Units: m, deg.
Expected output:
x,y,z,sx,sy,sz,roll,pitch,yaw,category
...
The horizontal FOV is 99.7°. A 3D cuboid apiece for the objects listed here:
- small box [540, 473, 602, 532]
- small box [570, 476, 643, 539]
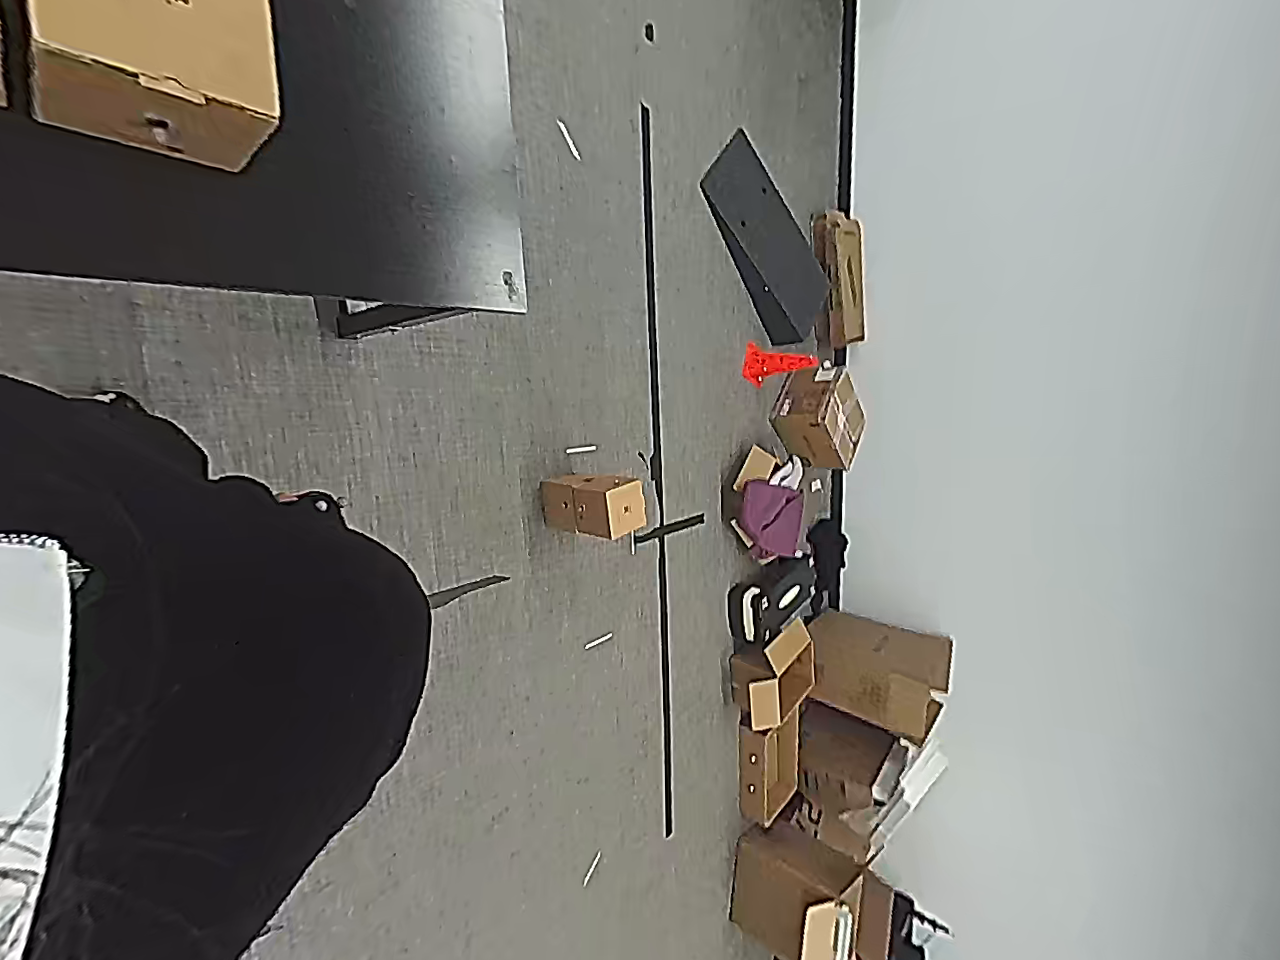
x,y,z,sx,sy,sz,roll,pitch,yaw,category
-0.243,0.074,1.947,0.168,0.176,0.179,-17,108,-46,small box
-0.115,0.086,1.848,0.179,0.176,0.168,-21,109,-44,small box
